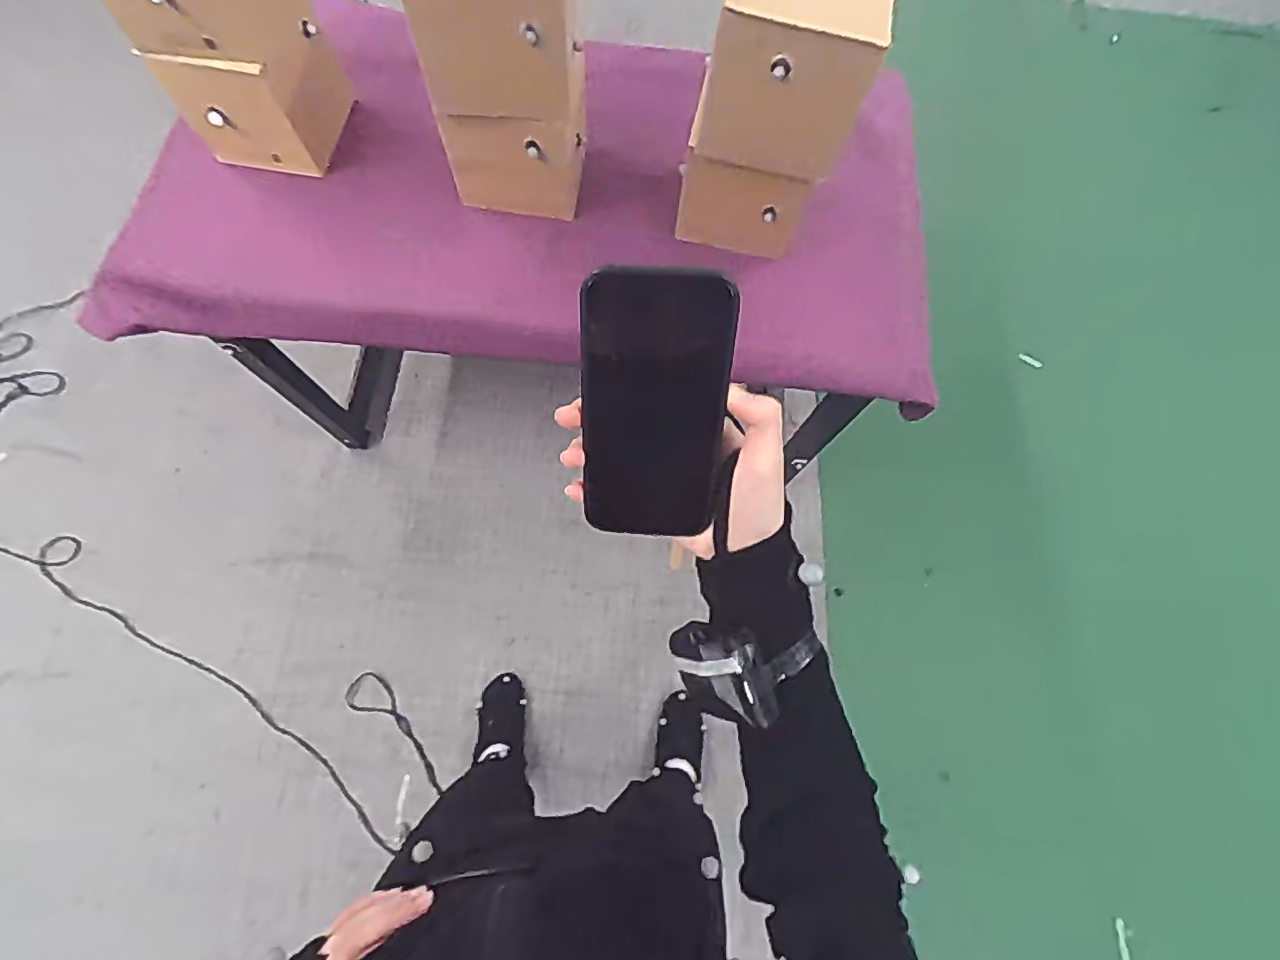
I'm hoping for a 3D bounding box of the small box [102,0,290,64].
[{"bbox_3d":[-0.557,-0.647,0.651,0.168,0.176,0.179,3,72,-3],"label":"small box"}]

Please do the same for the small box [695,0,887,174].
[{"bbox_3d":[0.171,-0.502,0.643,0.179,0.176,0.168,13,71,1],"label":"small box"}]

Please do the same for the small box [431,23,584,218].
[{"bbox_3d":[-0.181,-0.520,0.801,0.179,0.176,0.168,7,71,-1],"label":"small box"}]

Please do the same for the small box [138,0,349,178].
[{"bbox_3d":[-0.566,-0.586,0.803,0.168,0.176,0.179,8,71,-1],"label":"small box"}]

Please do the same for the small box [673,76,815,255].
[{"bbox_3d":[0.156,-0.465,0.803,0.179,0.176,0.168,13,71,2],"label":"small box"}]
